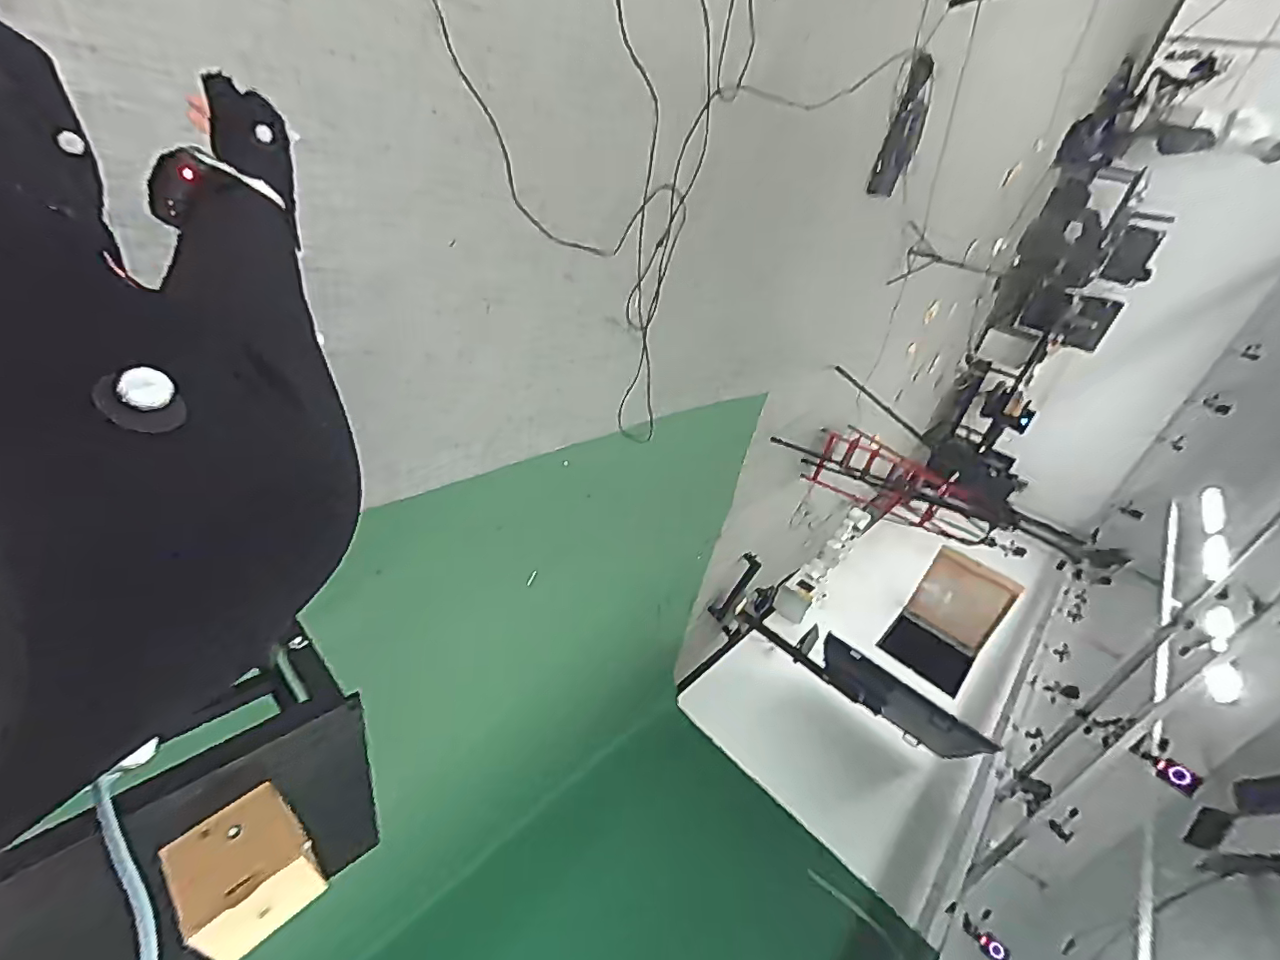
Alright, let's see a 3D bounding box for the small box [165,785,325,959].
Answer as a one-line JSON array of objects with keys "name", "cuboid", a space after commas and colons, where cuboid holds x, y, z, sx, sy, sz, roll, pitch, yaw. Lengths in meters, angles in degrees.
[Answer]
[{"name": "small box", "cuboid": [-0.705, 0.696, 0.973, 0.168, 0.176, 0.179, -29, 139, -36]}]
